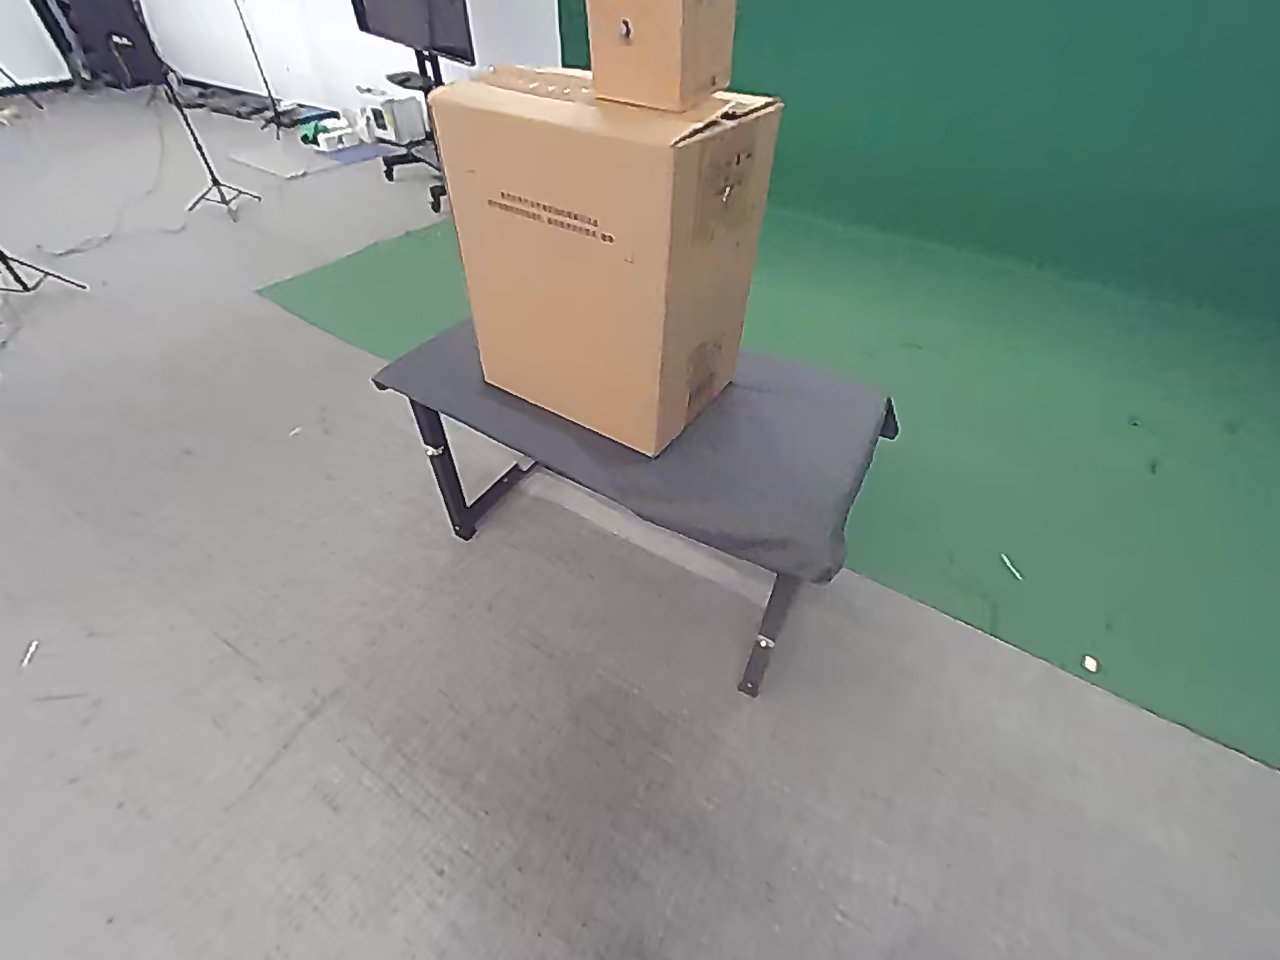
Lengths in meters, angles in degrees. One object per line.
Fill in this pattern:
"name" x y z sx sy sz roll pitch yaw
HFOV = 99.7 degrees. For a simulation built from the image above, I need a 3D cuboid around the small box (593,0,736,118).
"small box" 0.038 -0.711 0.877 0.179 0.176 0.168 27 56 23
